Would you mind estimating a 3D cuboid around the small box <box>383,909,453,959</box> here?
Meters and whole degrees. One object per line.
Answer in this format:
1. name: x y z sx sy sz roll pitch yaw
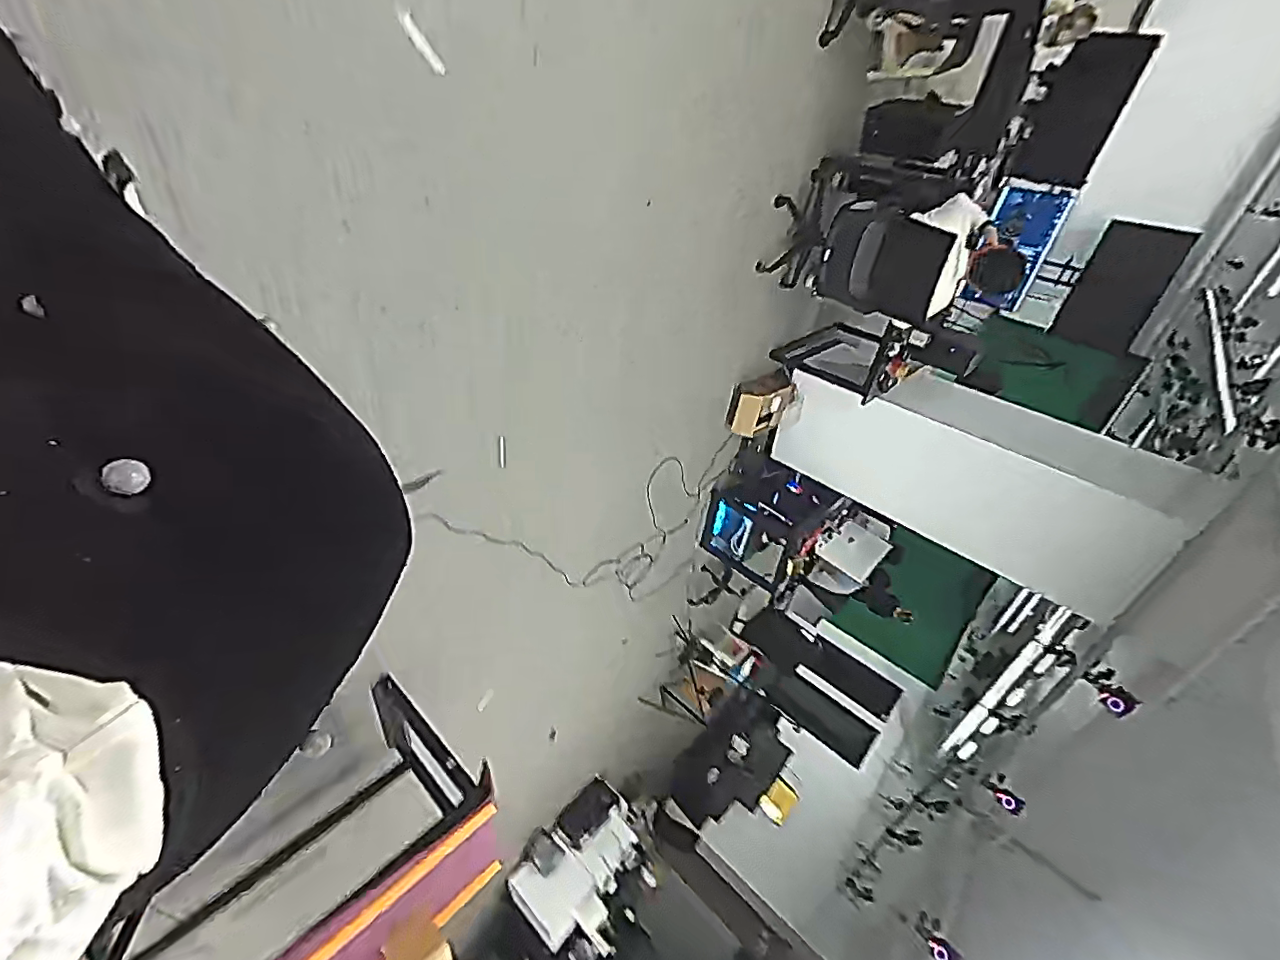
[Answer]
1. small box: -0.789 1.689 1.924 0.168 0.176 0.179 -28 136 -42
